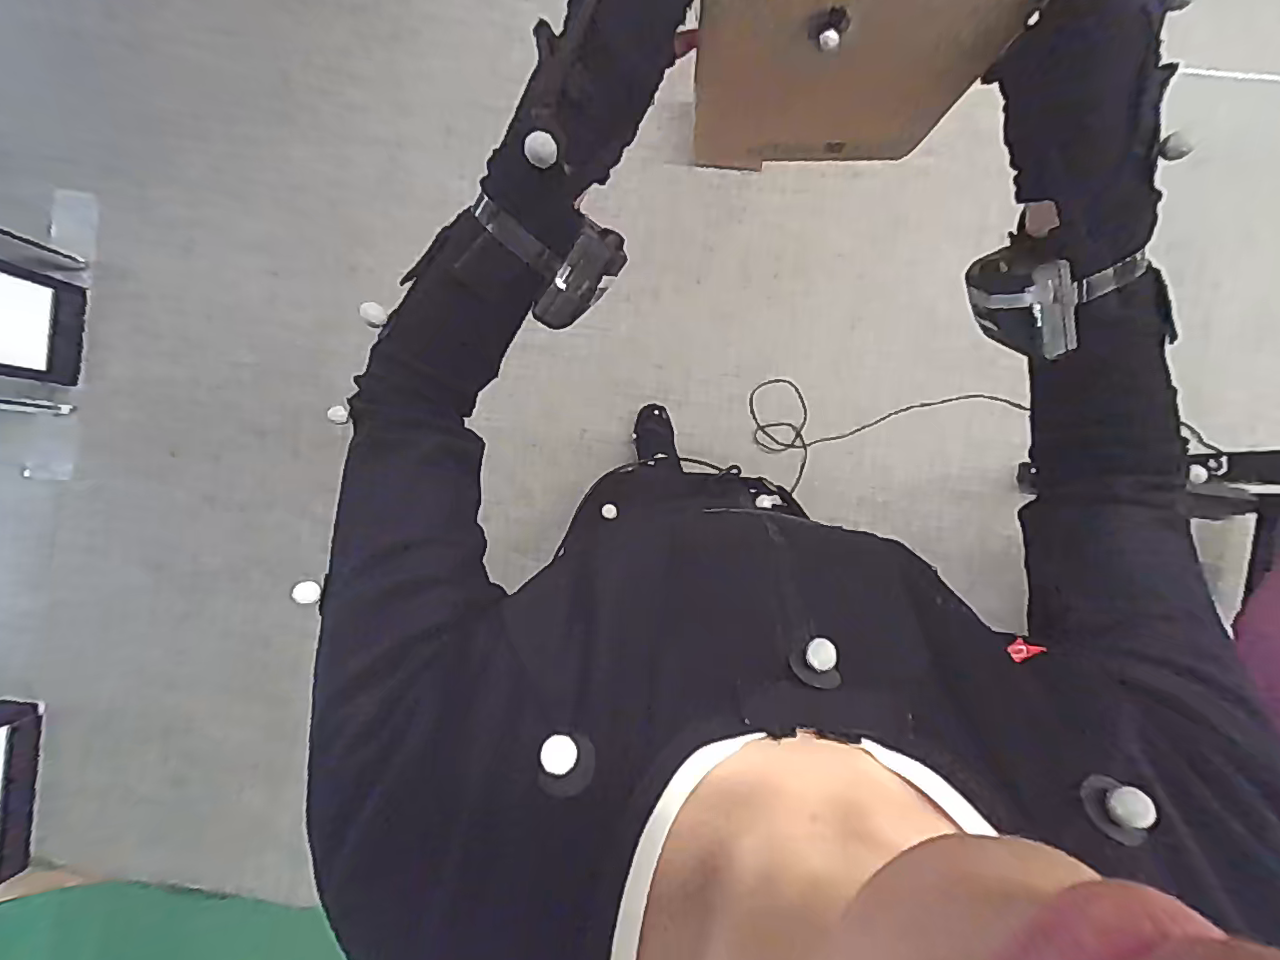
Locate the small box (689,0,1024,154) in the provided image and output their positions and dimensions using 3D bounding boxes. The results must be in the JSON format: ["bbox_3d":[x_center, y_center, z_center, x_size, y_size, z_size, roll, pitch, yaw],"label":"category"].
[{"bbox_3d":[0.117,-0.331,0.325,0.168,0.176,0.179,2,95,3],"label":"small box"}]

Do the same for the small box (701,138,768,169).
[{"bbox_3d":[0.253,-0.930,1.388,0.179,0.176,0.168,7,90,2],"label":"small box"}]
